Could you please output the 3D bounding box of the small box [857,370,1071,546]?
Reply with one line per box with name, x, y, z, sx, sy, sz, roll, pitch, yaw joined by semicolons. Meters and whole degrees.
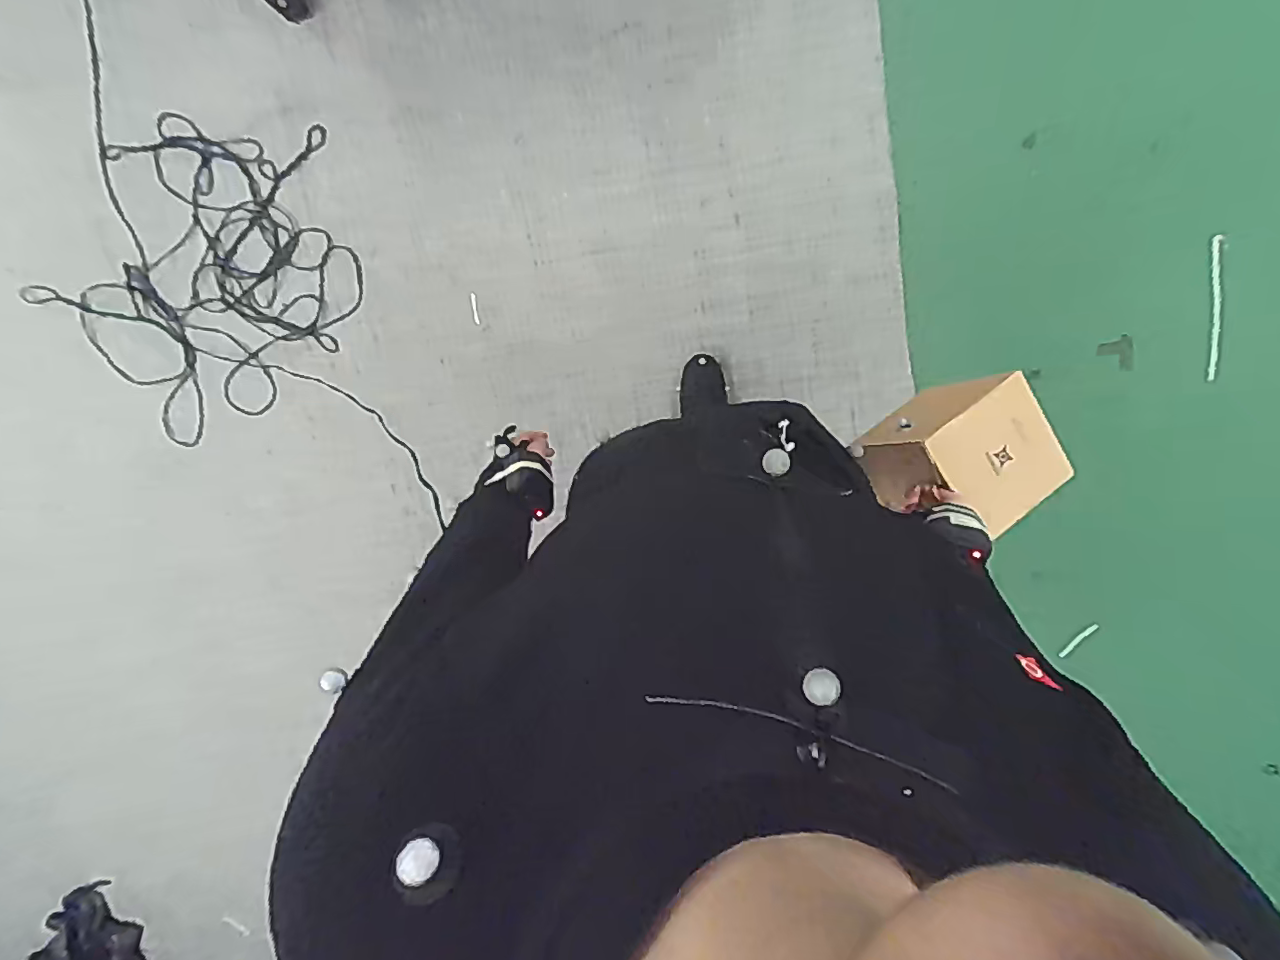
small box;0.441;-0.028;0.768;0.179;0.176;0.168;-36;99;-10
